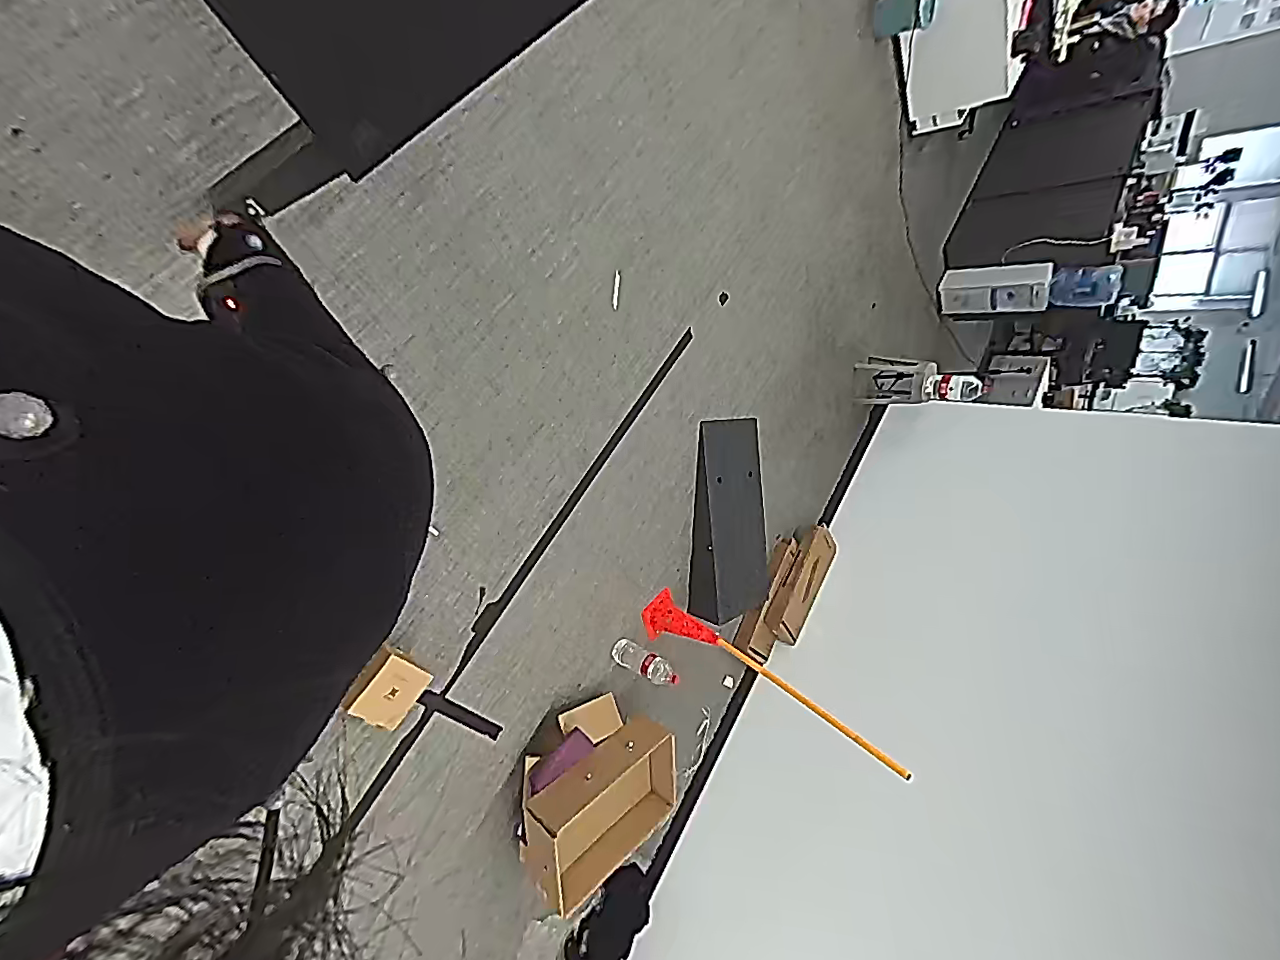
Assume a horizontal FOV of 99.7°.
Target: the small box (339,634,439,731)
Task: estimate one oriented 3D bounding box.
[{"bbox_3d":[-0.714,0.569,1.527,0.179,0.176,0.168,-57,135,-21],"label":"small box"}]
